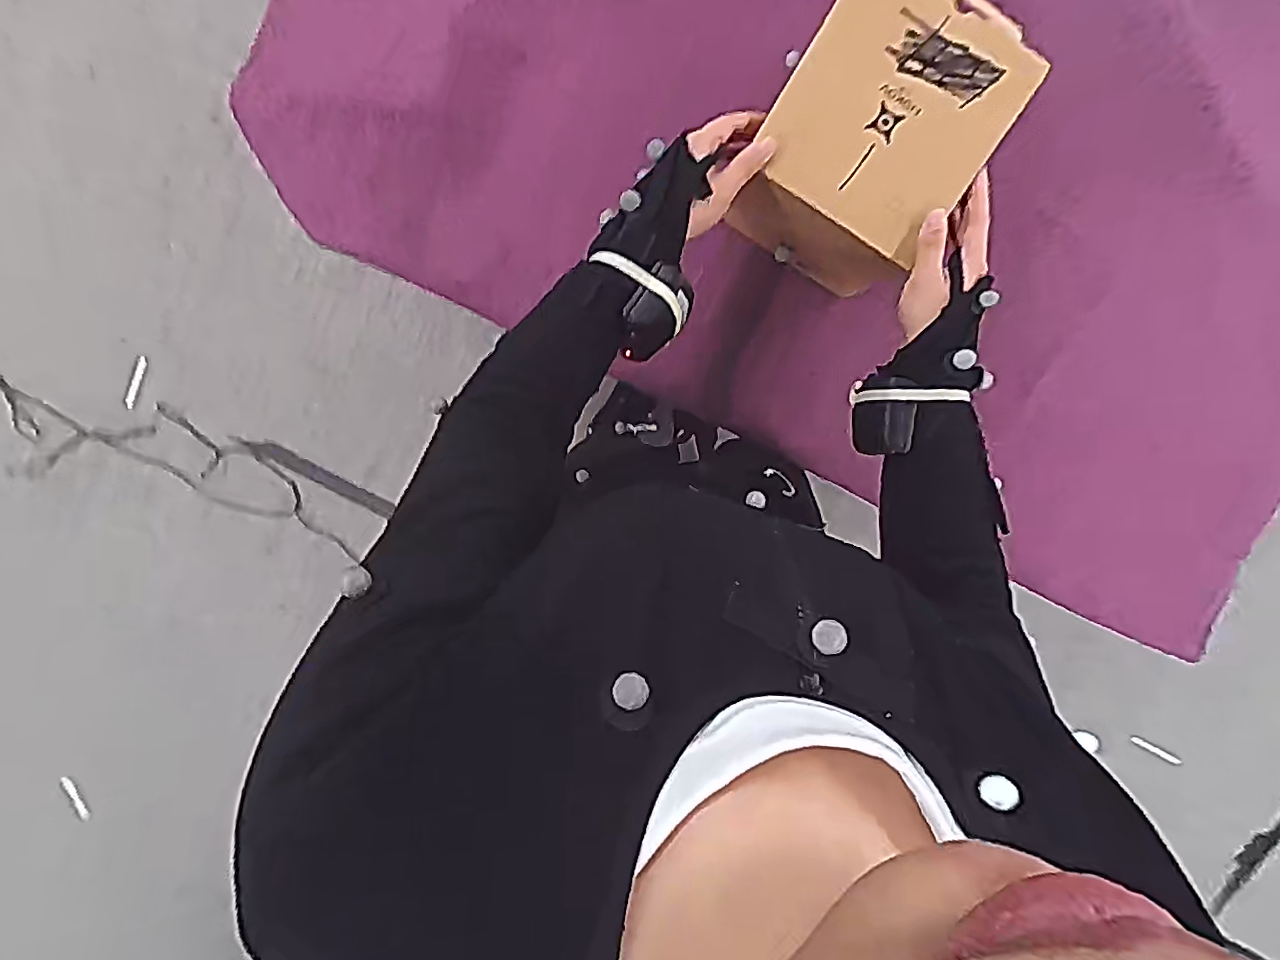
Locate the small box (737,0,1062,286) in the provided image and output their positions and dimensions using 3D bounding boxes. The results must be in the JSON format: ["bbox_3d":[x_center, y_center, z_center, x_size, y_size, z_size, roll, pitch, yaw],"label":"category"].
[{"bbox_3d":[0.204,-0.303,0.487,0.168,0.176,0.179,32,101,-4],"label":"small box"}]
